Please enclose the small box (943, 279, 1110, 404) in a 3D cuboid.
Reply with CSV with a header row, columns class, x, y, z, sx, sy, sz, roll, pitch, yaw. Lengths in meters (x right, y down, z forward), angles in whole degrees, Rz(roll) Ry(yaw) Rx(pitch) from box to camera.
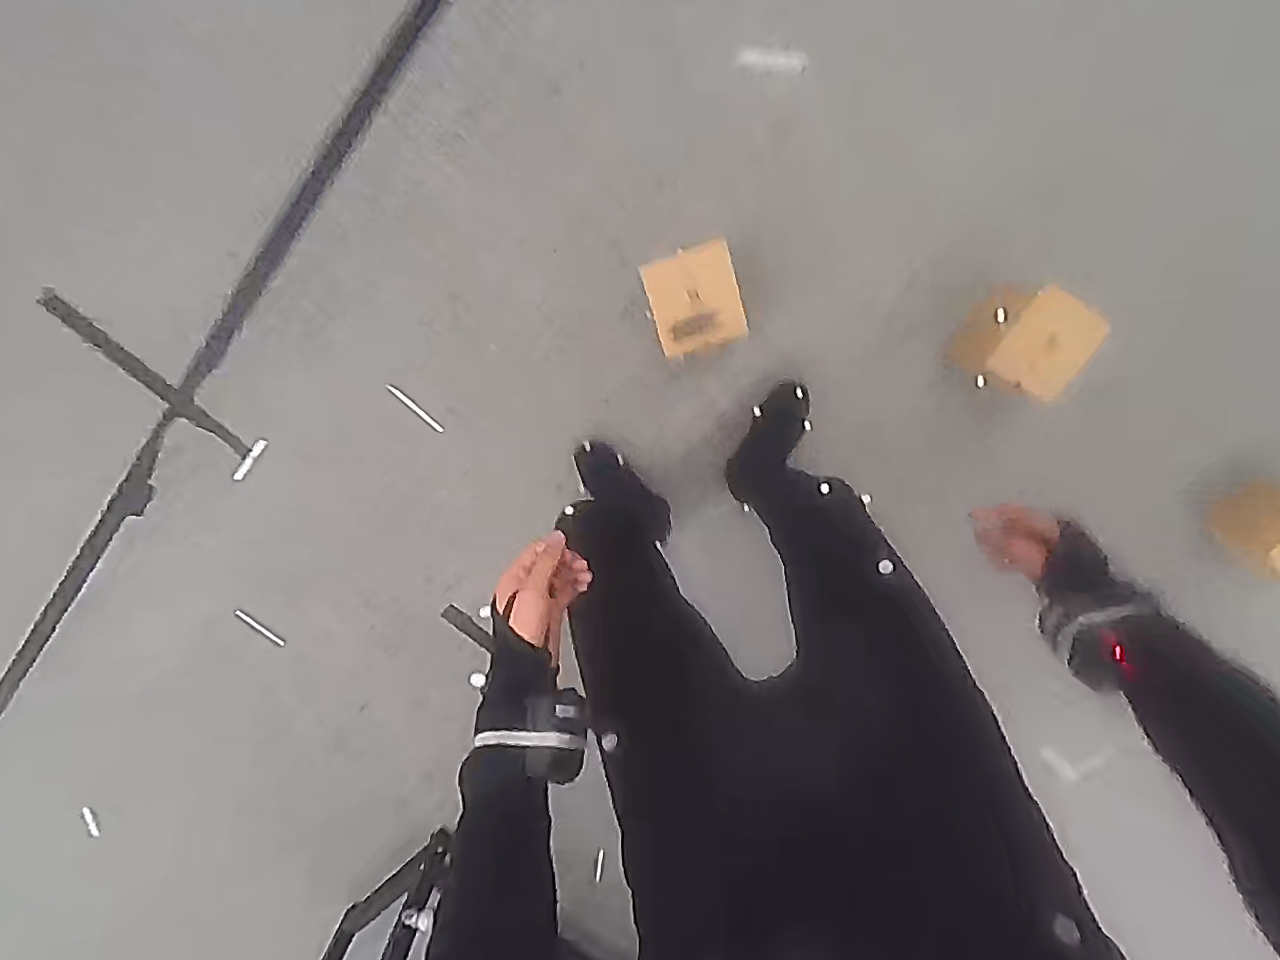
class,x,y,z,sx,sy,sz,roll,pitch,yaw
small box,0.756,-0.282,1.083,0.168,0.176,0.179,28,109,-8
